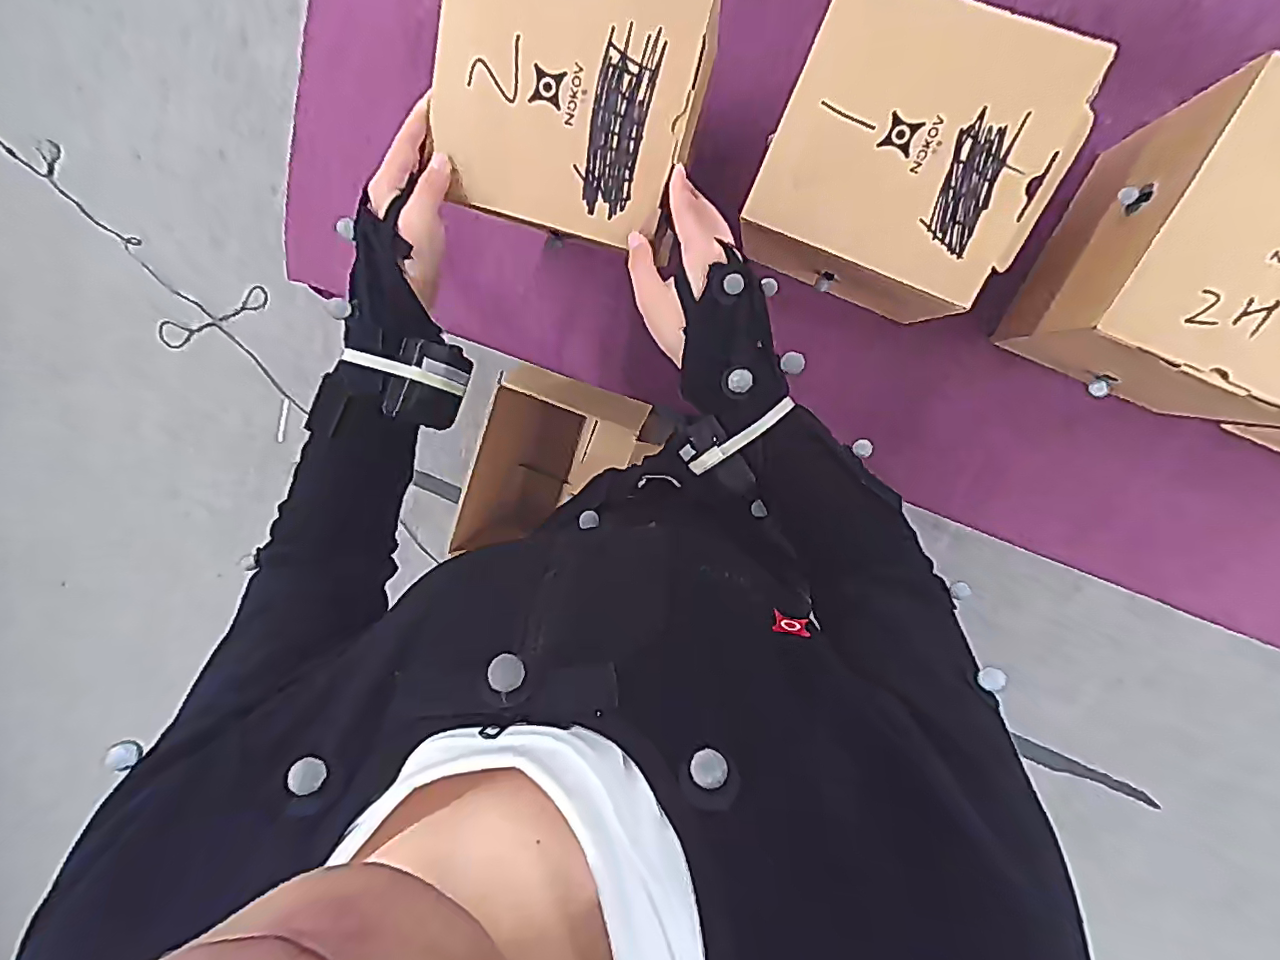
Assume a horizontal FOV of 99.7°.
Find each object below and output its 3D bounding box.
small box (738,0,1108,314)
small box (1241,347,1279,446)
[{"bbox_3d":[0.196,-0.244,0.436,0.179,0.176,0.168,25,107,6],"label":"small box"},{"bbox_3d":[0.616,-0.078,0.381,0.168,0.176,0.179,26,106,6],"label":"small box"}]
